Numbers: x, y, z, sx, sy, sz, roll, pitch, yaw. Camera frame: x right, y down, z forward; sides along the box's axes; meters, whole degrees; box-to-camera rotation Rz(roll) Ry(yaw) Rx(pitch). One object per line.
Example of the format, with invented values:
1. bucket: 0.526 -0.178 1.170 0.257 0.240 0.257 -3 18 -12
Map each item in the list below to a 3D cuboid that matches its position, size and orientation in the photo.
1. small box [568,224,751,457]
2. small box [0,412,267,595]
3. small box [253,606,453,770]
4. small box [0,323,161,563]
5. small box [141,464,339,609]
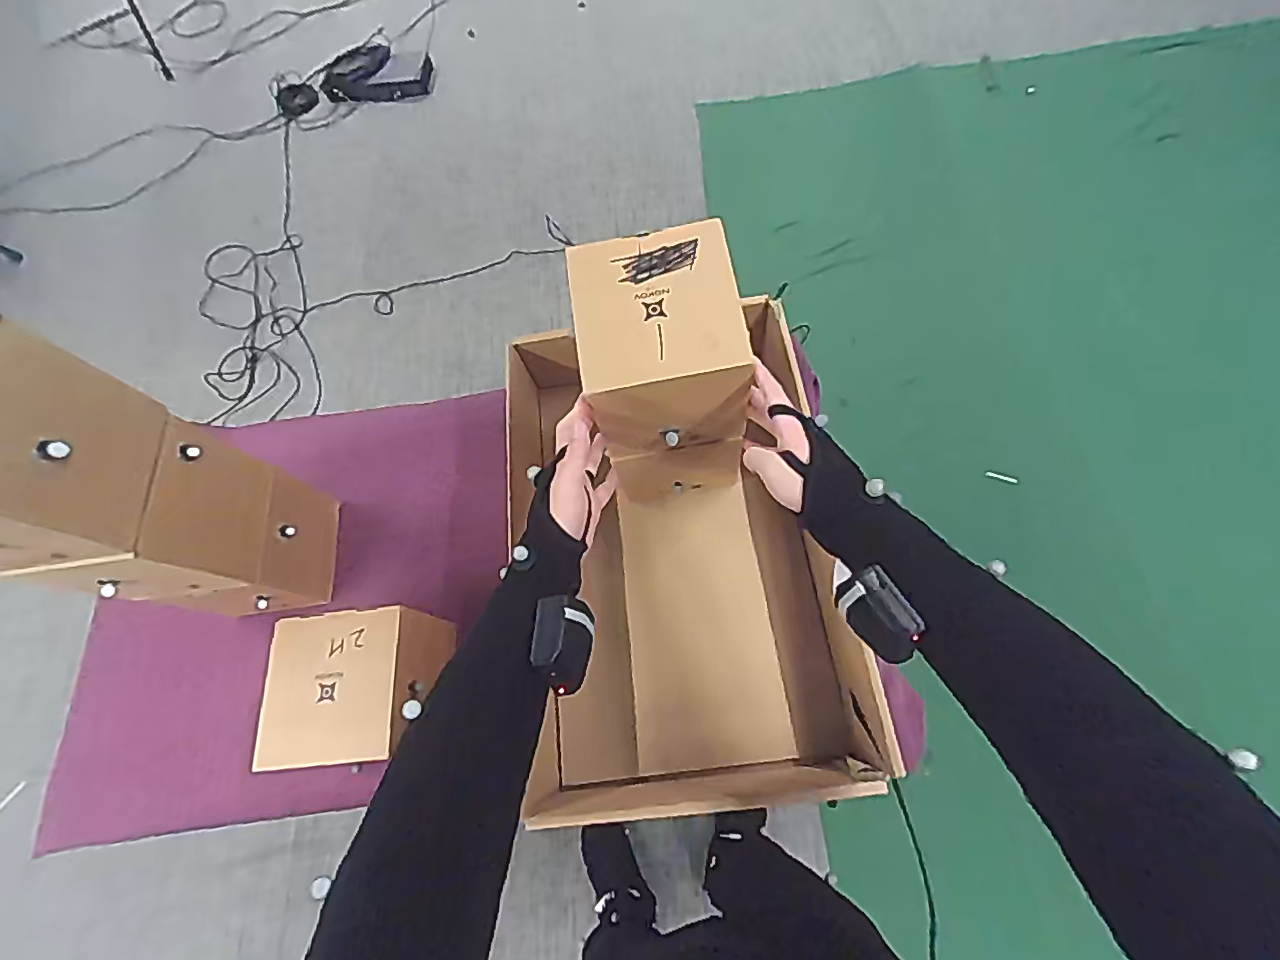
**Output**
1. small box: 0.022 -0.146 0.609 0.168 0.176 0.179 -10 70 4
2. small box: -0.602 0.040 0.668 0.168 0.176 0.179 -8 68 2
3. small box: -0.363 0.273 0.720 0.168 0.176 0.179 -6 68 3
4. small box: -0.618 -0.024 0.517 0.168 0.176 0.179 -8 68 2
5. small box: -0.586 0.095 0.819 0.168 0.176 0.179 -7 68 2
